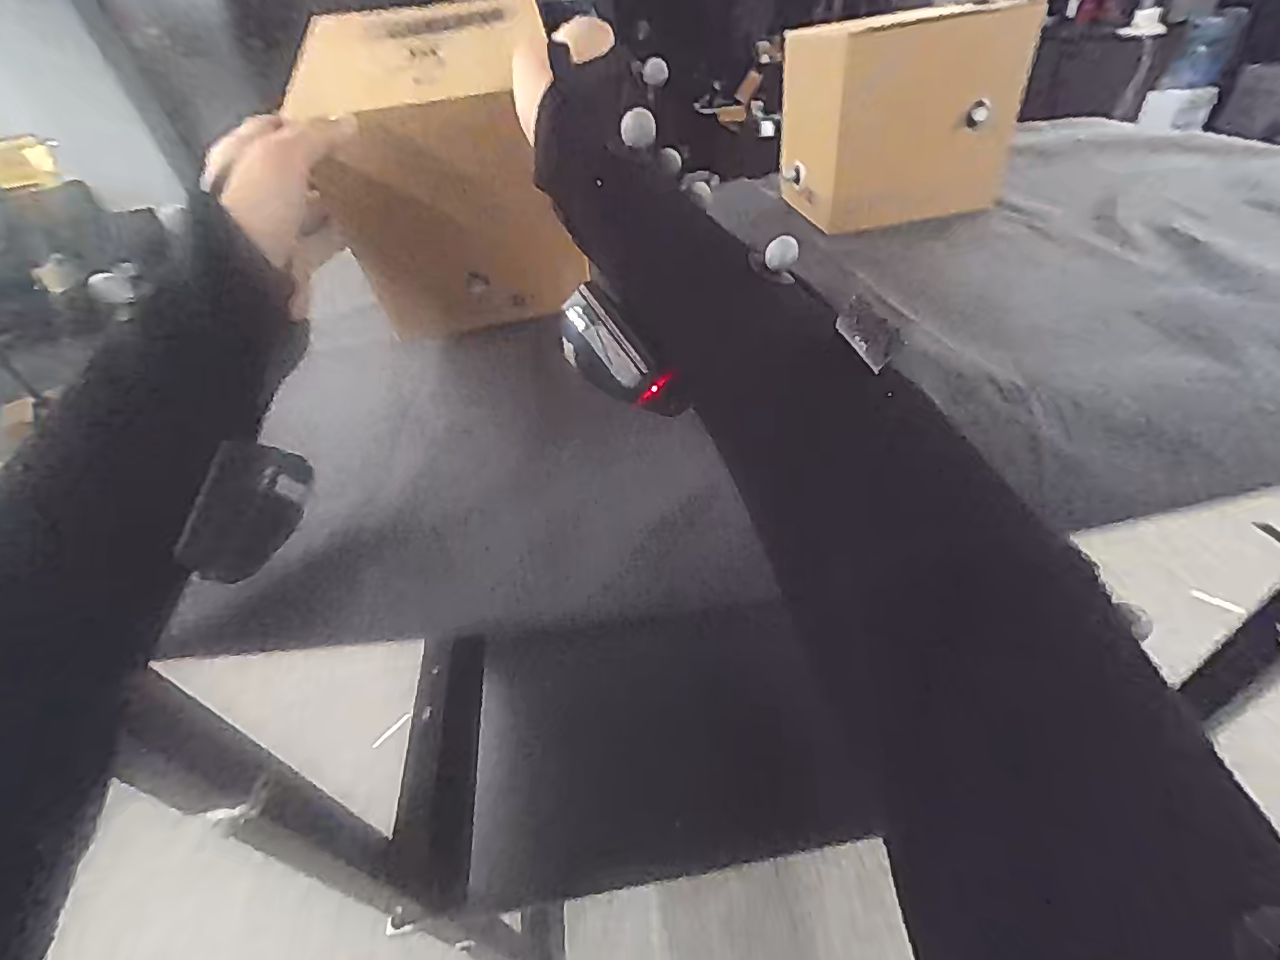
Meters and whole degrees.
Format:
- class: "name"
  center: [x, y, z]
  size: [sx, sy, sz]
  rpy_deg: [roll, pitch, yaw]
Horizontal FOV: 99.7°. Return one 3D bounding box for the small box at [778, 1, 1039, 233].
- class: "small box"
  center: [0.256, -0.379, 0.569]
  size: [0.179, 0.176, 0.168]
  rpy_deg: [-10, 40, 0]
